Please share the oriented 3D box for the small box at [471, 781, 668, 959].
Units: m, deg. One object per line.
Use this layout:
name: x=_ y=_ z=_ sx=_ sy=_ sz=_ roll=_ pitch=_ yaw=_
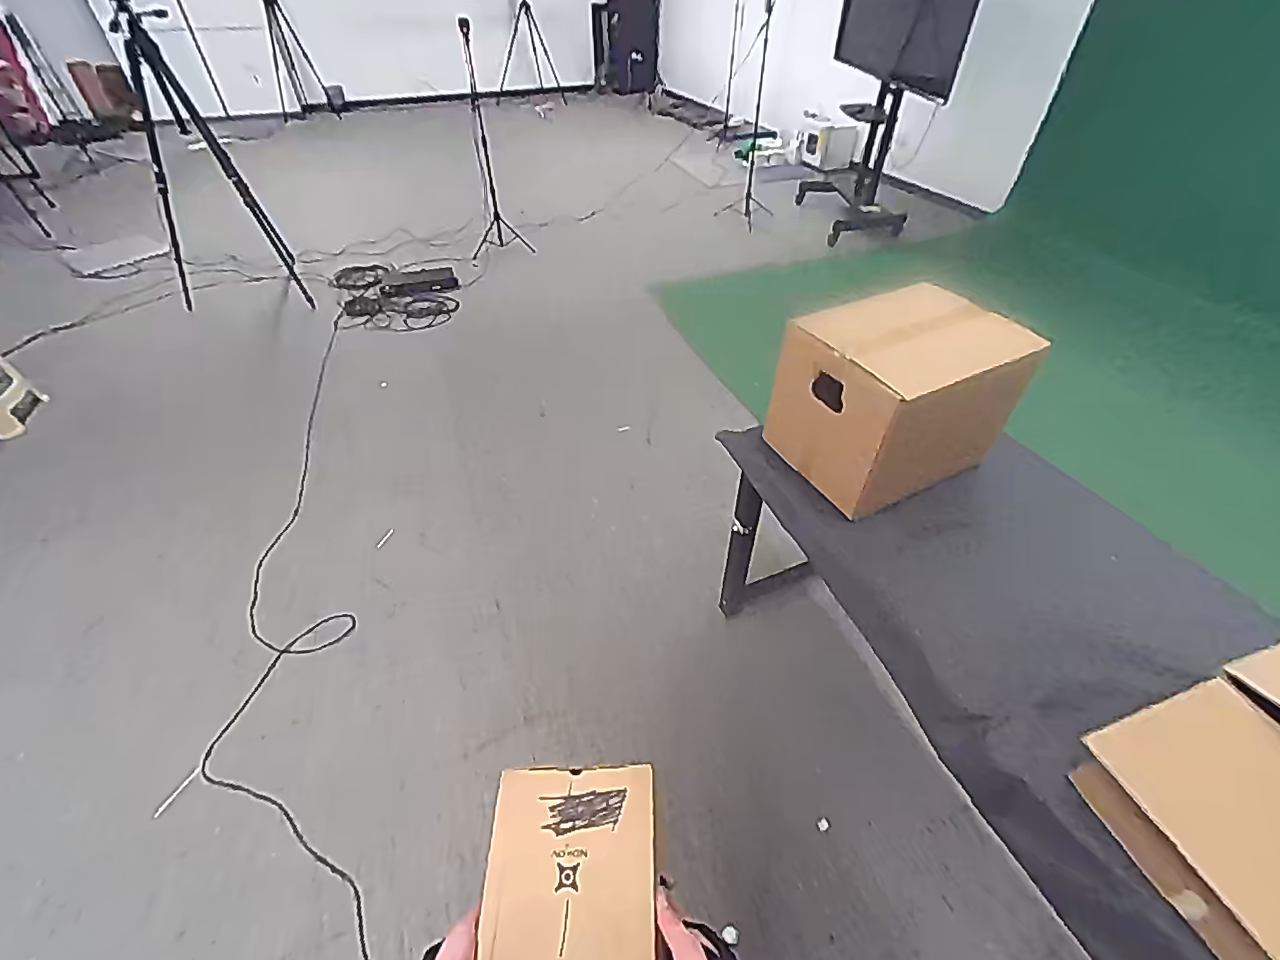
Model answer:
small box: x=-0.059 y=0.430 z=0.566 sx=0.168 sy=0.176 sz=0.179 roll=-4 pitch=51 yaw=5
